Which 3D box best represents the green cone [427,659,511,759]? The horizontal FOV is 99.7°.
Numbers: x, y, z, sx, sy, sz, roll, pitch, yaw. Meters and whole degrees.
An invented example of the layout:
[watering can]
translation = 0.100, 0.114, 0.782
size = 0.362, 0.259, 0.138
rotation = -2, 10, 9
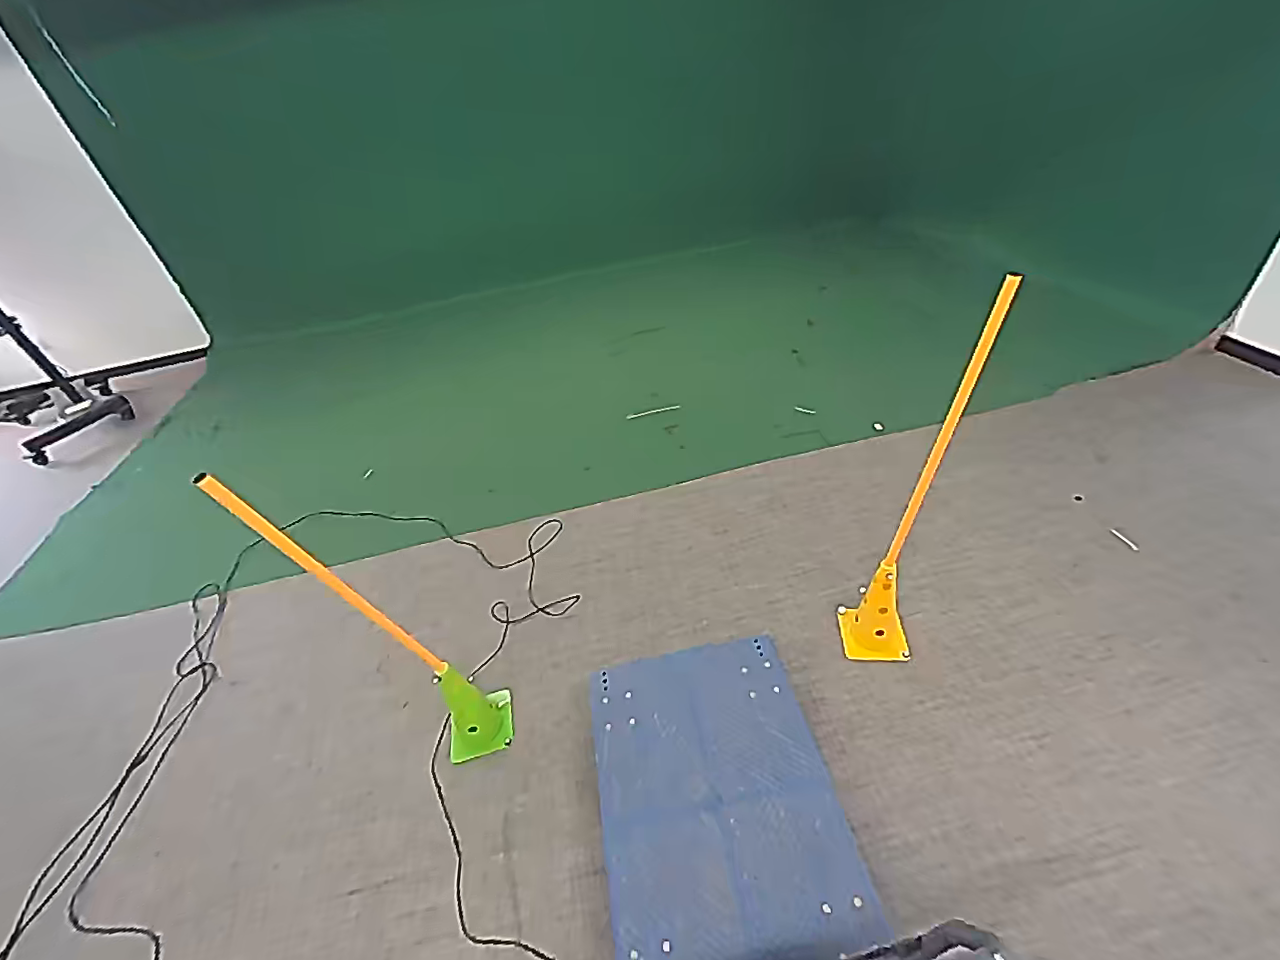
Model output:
[green cone]
translation = -0.550, 0.653, 1.646
size = 0.202, 0.368, 0.200
rotation = -17, 40, -5
